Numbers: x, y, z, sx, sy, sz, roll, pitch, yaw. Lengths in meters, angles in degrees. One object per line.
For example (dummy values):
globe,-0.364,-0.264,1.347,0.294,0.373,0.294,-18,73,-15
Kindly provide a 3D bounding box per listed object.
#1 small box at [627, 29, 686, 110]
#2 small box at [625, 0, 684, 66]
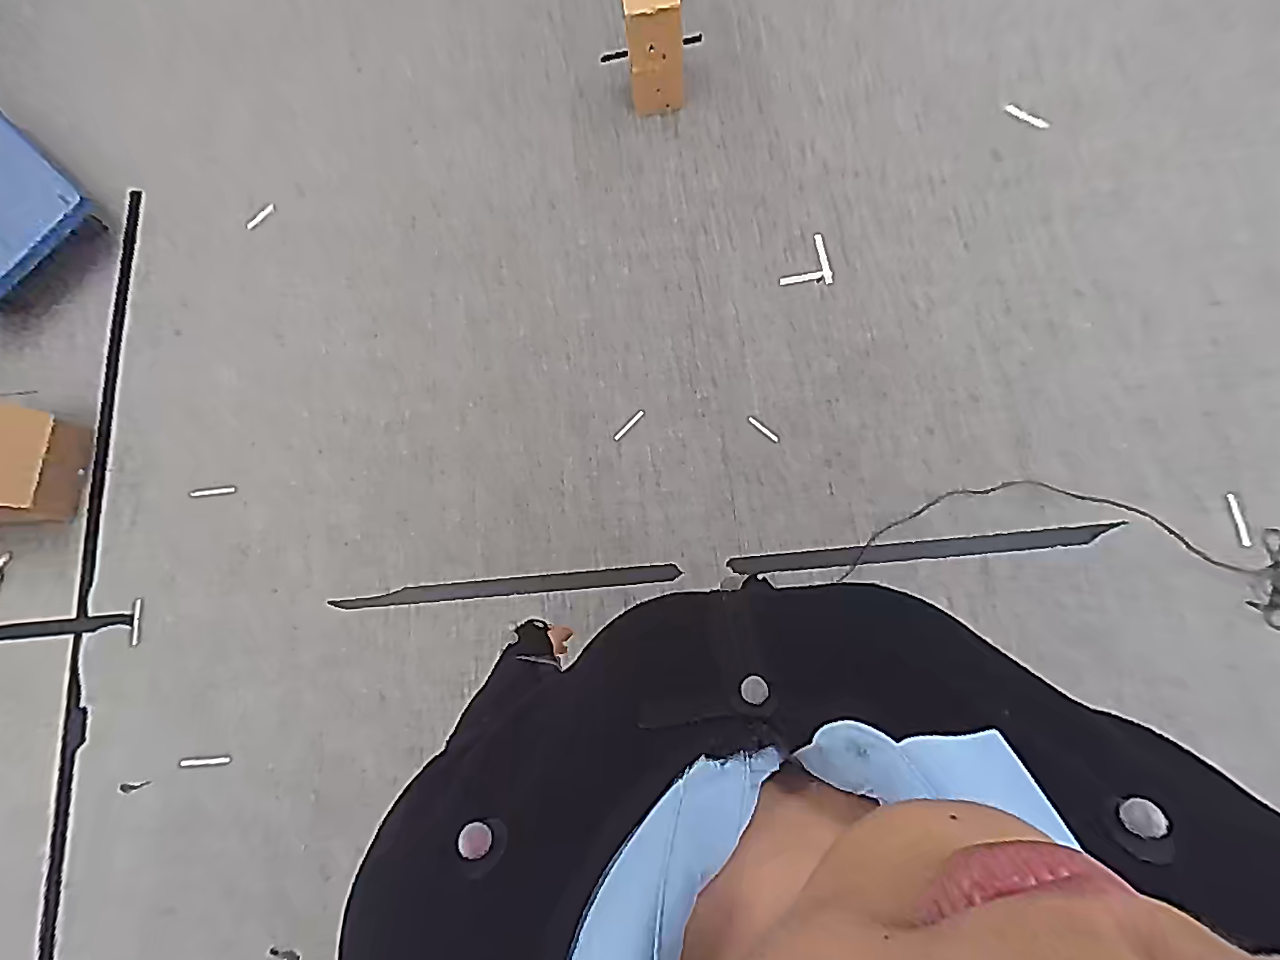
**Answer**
small box,0.058,-1.367,1.792,0.168,0.176,0.179,-9,77,4
small box,0.042,-1.410,1.635,0.168,0.176,0.179,-7,78,5
